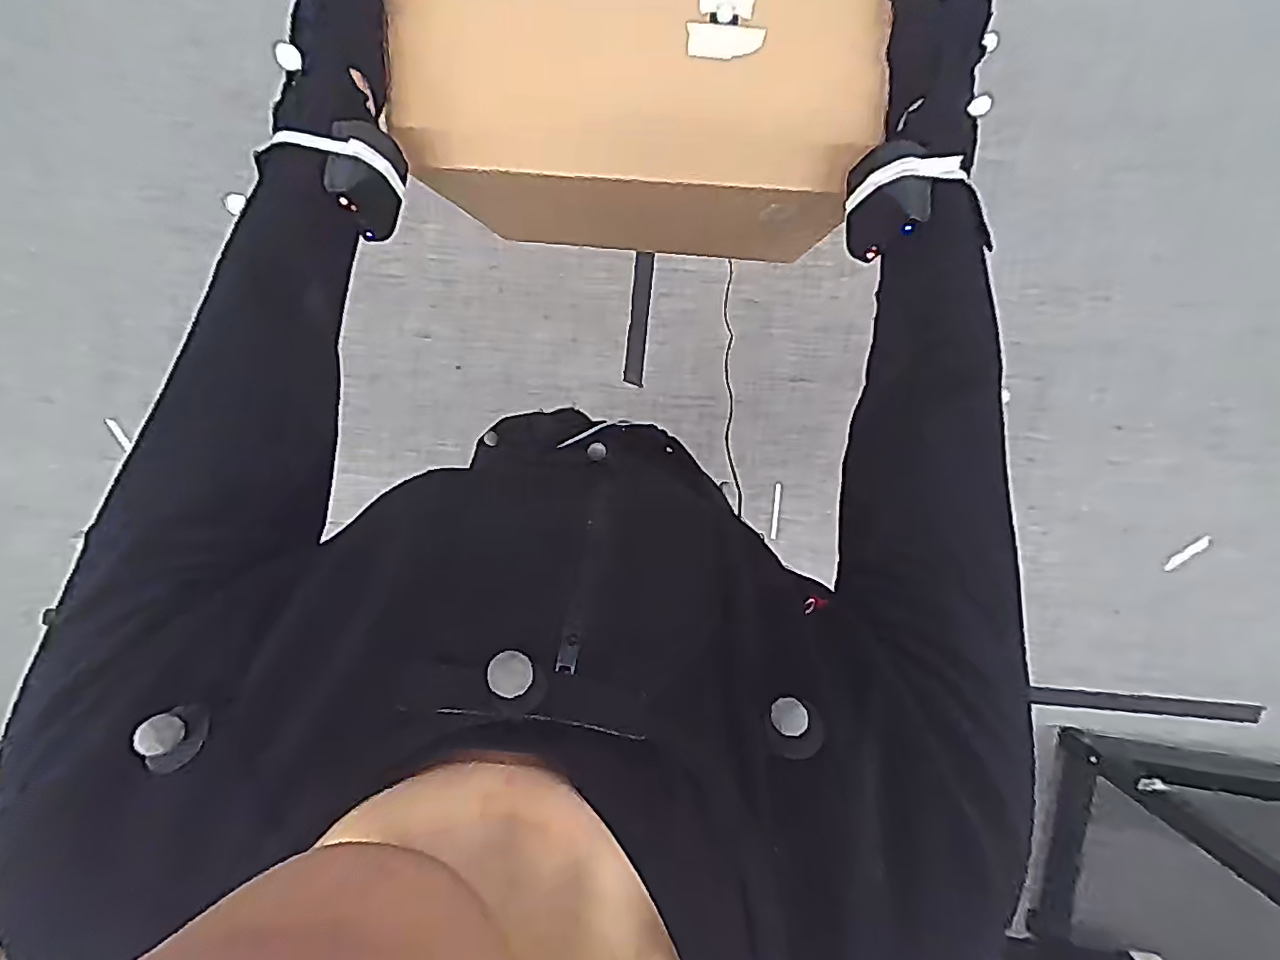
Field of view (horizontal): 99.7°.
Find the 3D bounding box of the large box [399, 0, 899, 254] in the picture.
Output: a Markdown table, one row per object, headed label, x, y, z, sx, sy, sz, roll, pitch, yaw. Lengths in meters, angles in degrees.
| label | x | y | z | sx | sy | sz | roll | pitch | yaw |
| --- | --- | --- | --- | --- | --- | --- | --- | --- | --- |
| large box | 0.011 | -0.437 | 0.568 | 0.408 | 0.320 | 0.320 | 5 | 103 | 2 |
